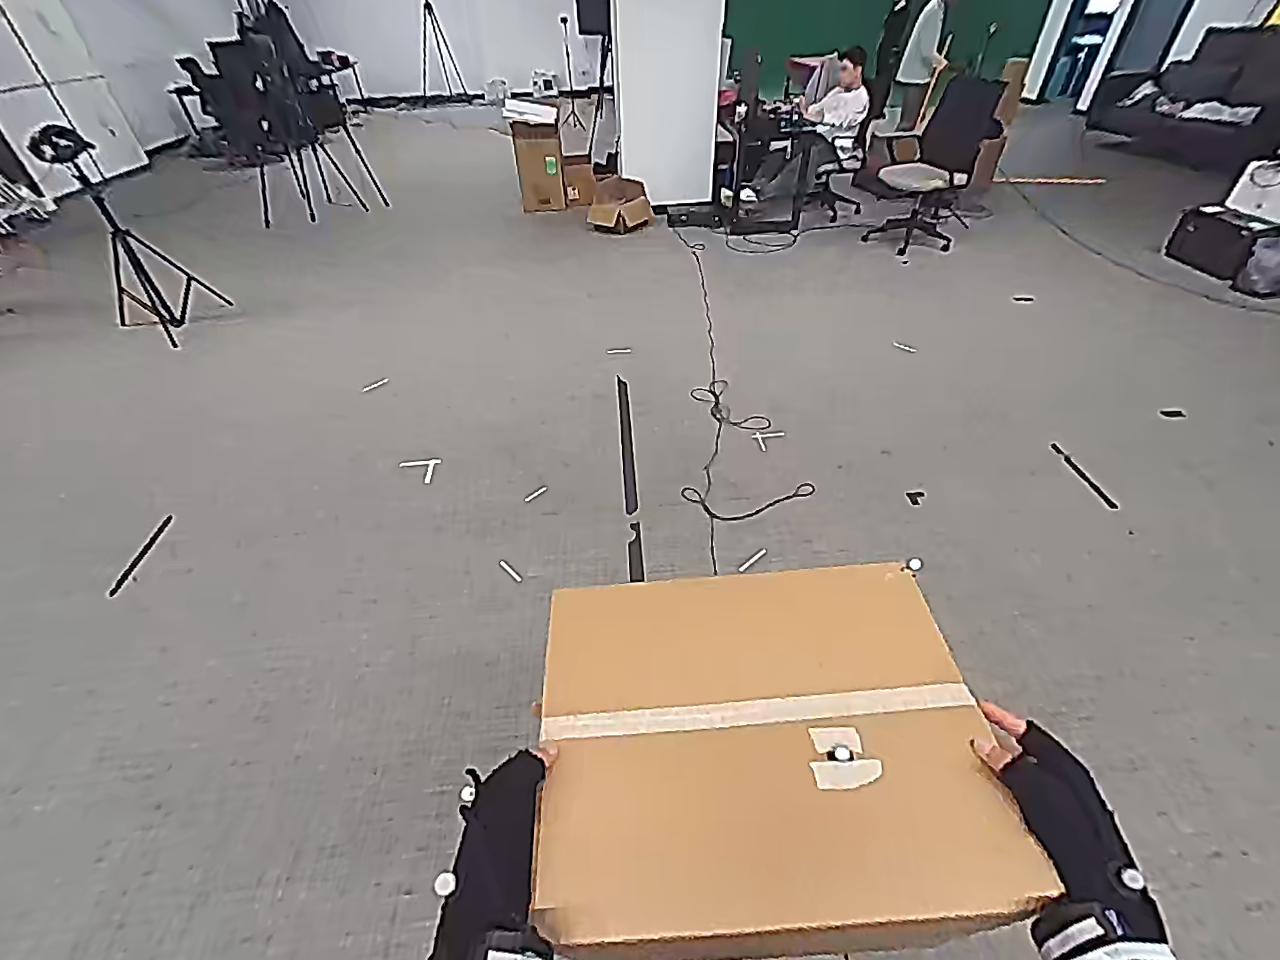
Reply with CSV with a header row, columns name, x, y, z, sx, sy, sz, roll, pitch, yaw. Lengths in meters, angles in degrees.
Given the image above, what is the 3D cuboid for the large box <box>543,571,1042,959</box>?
name,x,y,z,sx,sy,sz,roll,pitch,yaw
large box,0.119,0.337,0.630,0.408,0.320,0.320,-5,46,1
